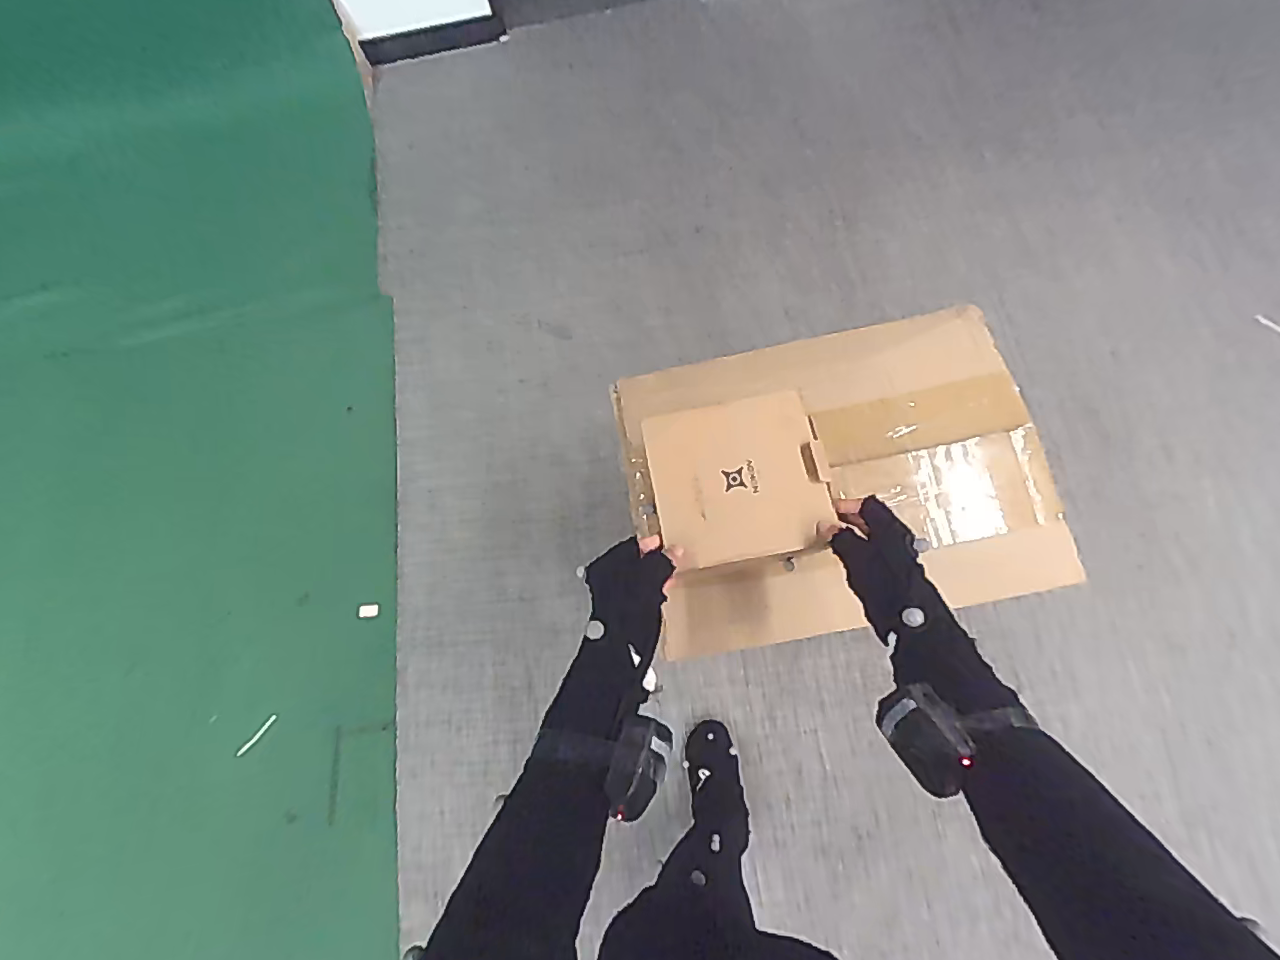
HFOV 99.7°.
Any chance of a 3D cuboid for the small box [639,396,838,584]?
[{"bbox_3d":[0.104,0.023,0.633,0.179,0.176,0.168,-13,75,3],"label":"small box"}]
